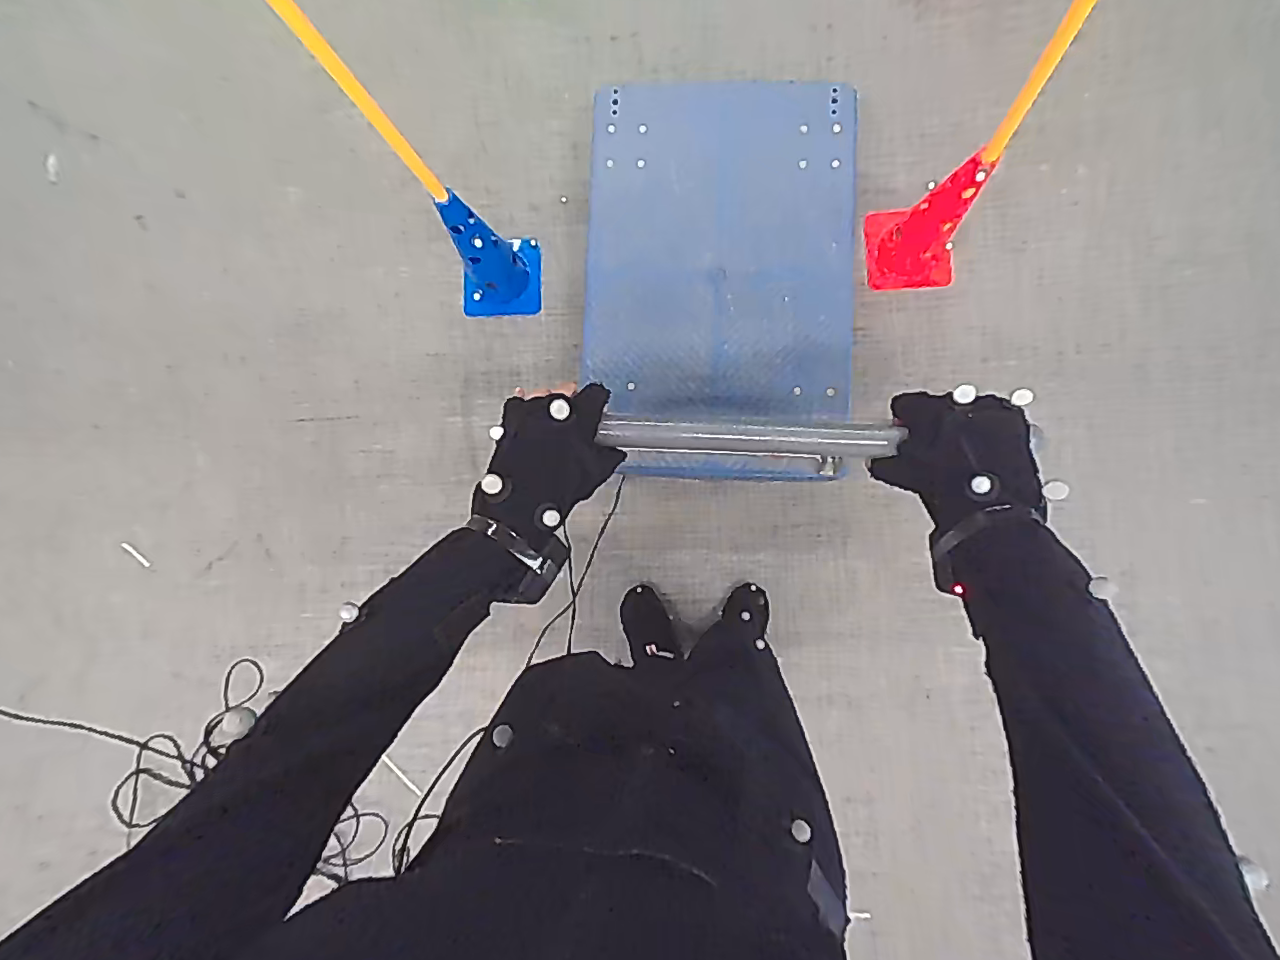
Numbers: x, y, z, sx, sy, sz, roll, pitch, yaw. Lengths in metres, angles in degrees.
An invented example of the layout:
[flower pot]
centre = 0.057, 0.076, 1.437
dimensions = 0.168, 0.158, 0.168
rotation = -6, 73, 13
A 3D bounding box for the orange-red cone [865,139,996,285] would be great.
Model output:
[orange-red cone]
centre = 0.639, -0.587, 1.150
dimensions = 0.199, 0.360, 0.198
rotation = -2, 86, 5
